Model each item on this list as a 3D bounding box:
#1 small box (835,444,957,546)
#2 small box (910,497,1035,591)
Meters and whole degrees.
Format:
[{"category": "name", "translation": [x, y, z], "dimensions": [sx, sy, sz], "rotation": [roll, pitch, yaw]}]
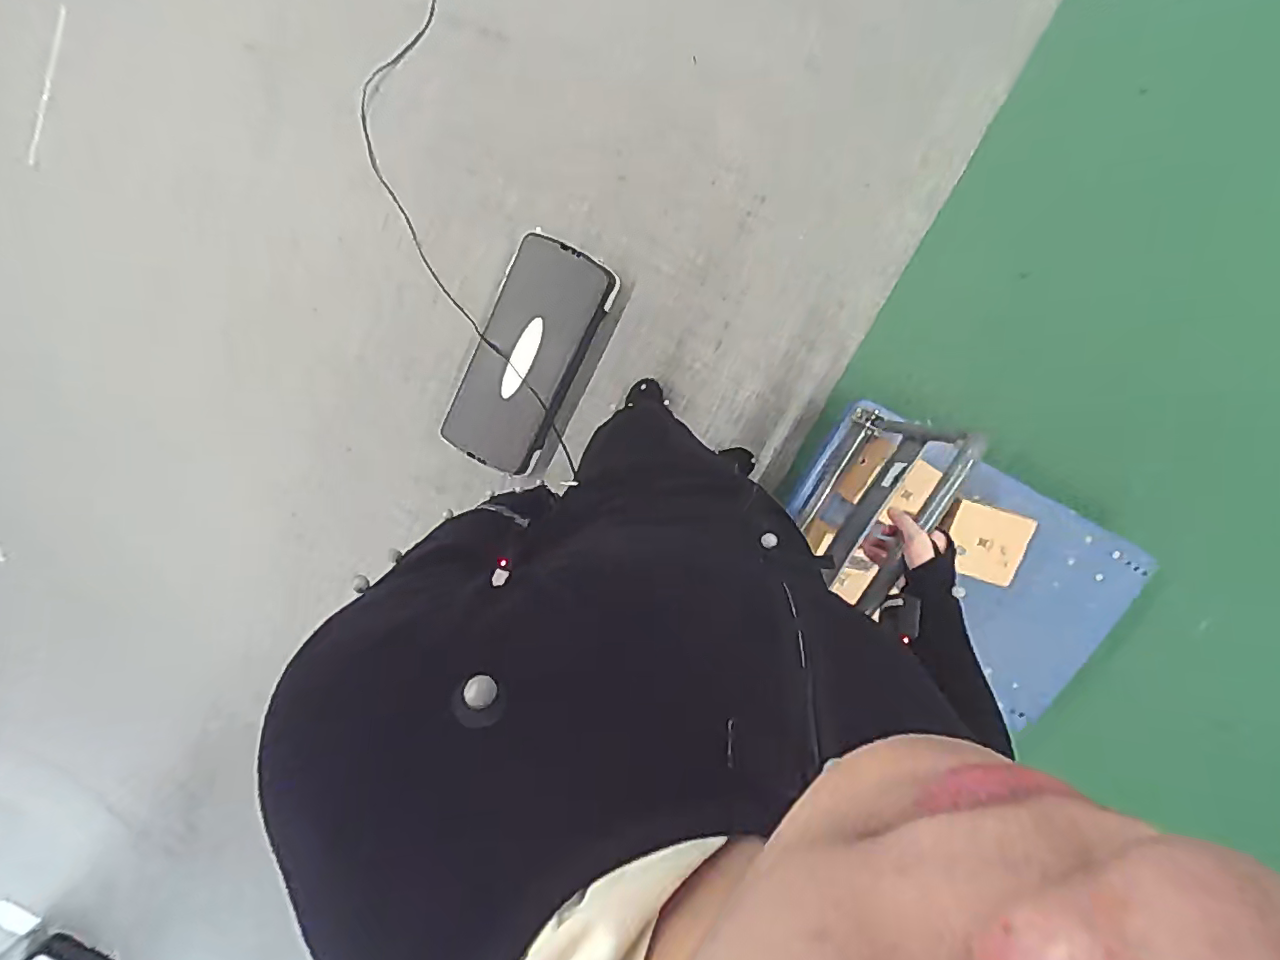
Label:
[{"category": "small box", "translation": [0.606, 0.026, 1.305], "dimensions": [0.179, 0.176, 0.168], "rotation": [33, 101, -1]}, {"category": "small box", "translation": [0.787, 0.142, 1.304], "dimensions": [0.179, 0.176, 0.168], "rotation": [18, 101, 2]}]
